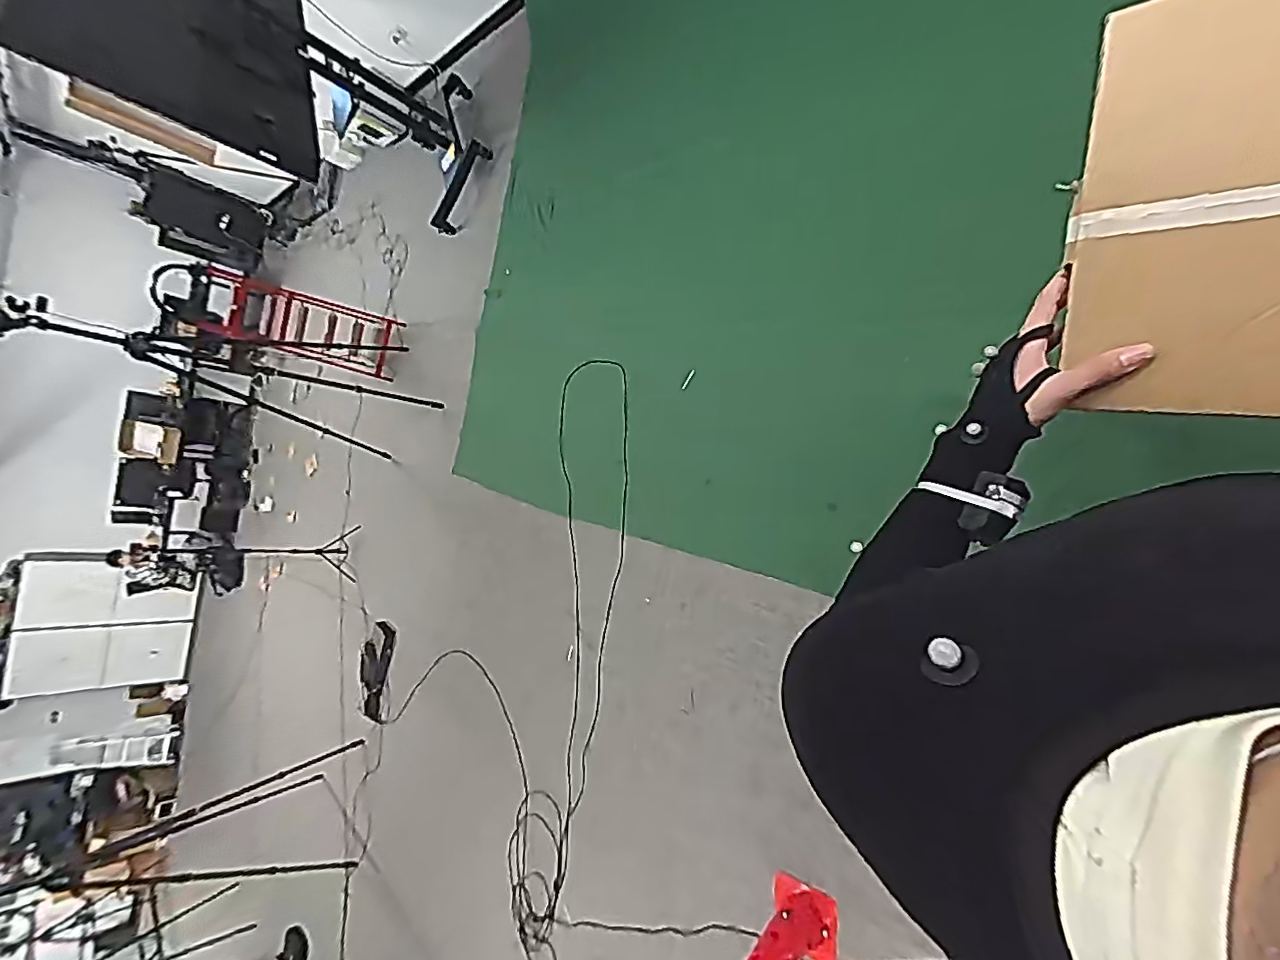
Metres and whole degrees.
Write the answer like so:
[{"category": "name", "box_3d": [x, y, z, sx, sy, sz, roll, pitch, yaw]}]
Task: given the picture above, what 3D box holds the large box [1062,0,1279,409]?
[{"category": "large box", "box_3d": [0.629, -0.225, 0.453, 0.408, 0.320, 0.320, 9, 106, 40]}]
